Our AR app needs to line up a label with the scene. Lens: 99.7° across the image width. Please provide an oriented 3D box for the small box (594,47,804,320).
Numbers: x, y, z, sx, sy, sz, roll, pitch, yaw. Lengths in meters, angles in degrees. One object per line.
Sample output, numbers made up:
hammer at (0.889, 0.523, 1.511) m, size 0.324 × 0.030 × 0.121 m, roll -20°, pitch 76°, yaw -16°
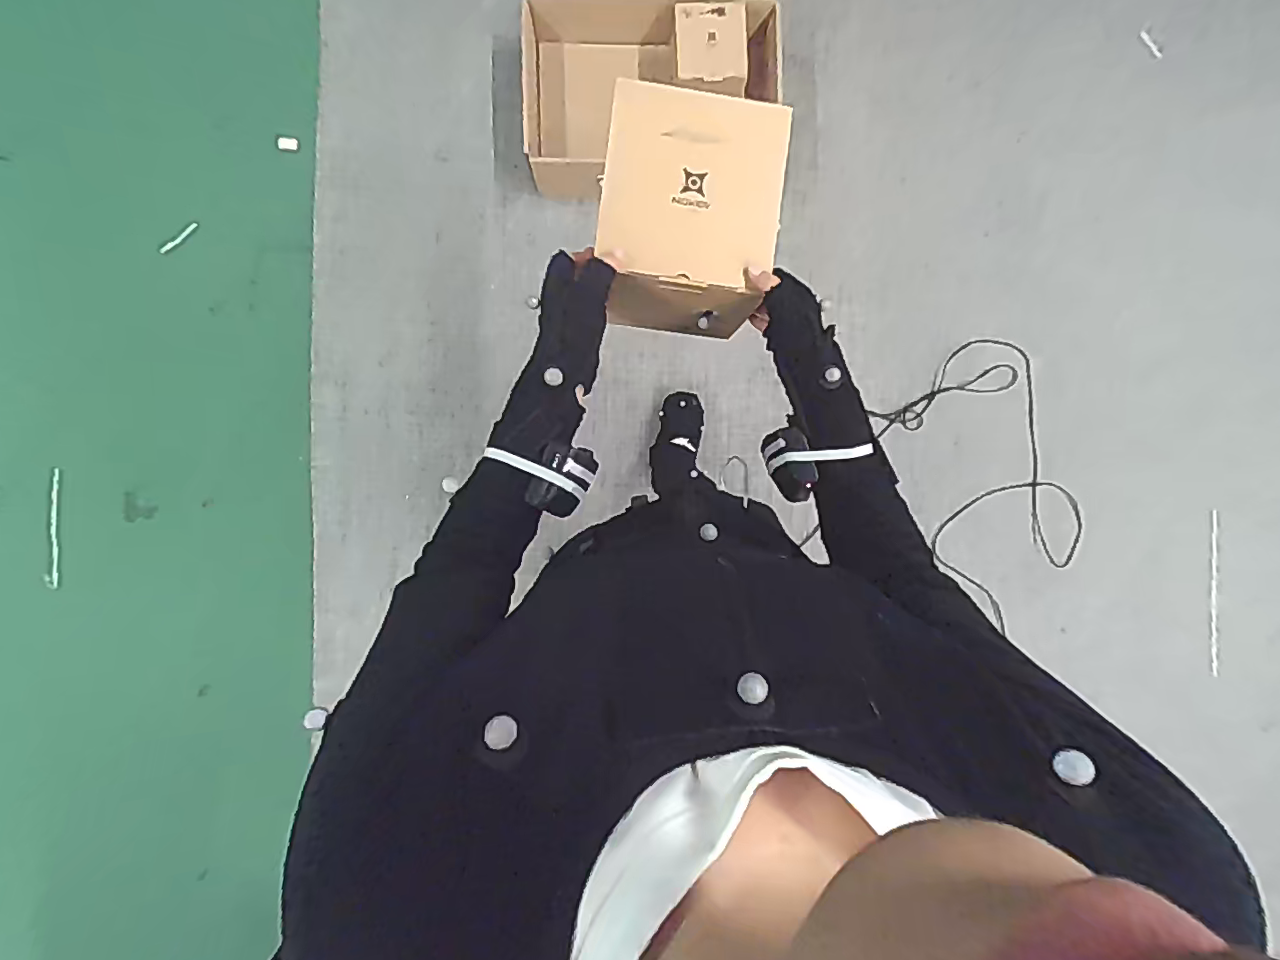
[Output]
small box at (0.047, -0.276, 0.547) m, size 0.168 × 0.176 × 0.179 m, roll 7°, pitch 90°, yaw -4°

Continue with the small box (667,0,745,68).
small box at (0.156, -1.034, 1.319) m, size 0.168 × 0.176 × 0.179 m, roll -5°, pitch 91°, yaw -1°
